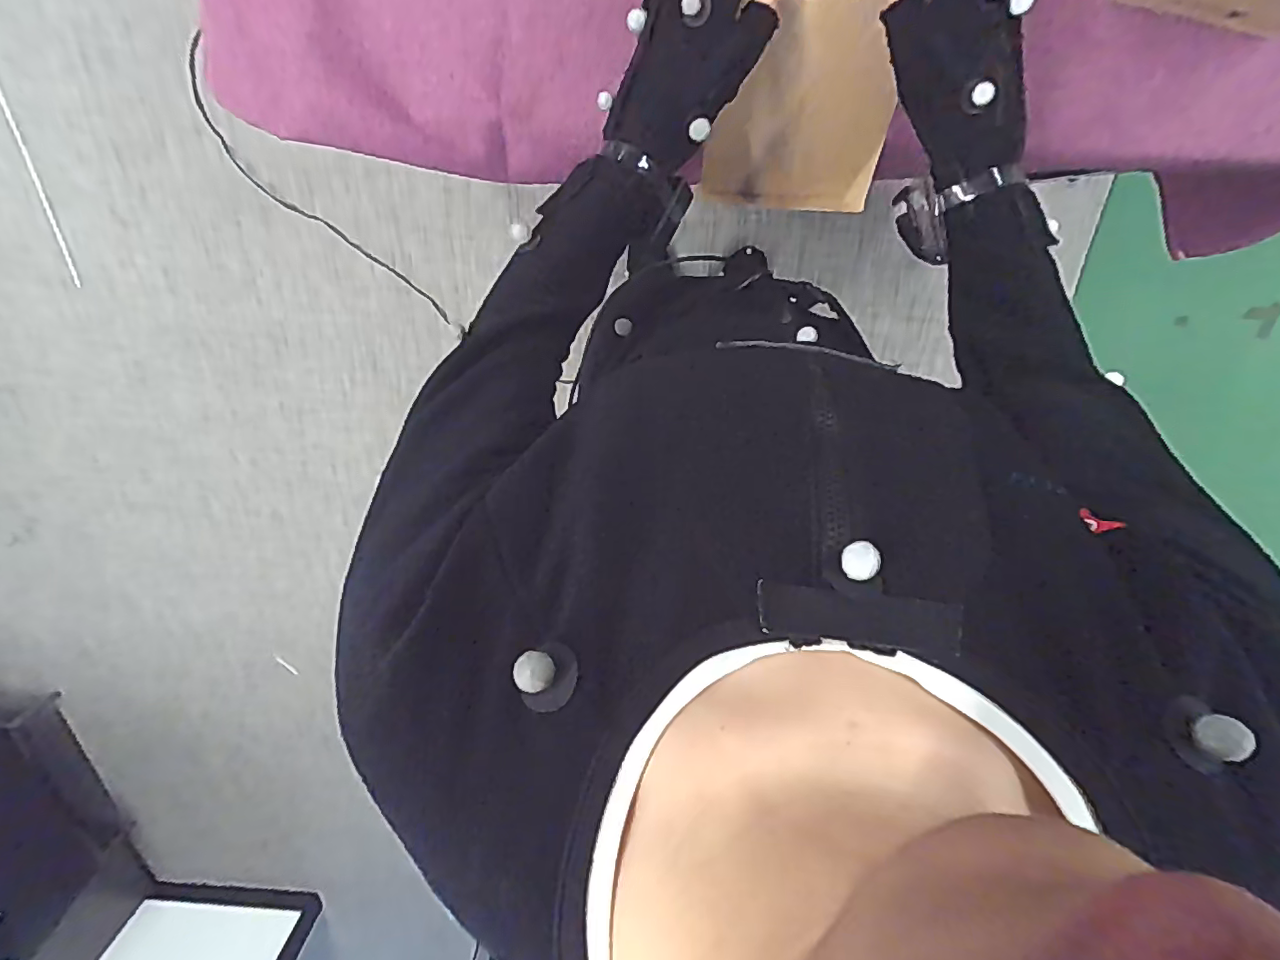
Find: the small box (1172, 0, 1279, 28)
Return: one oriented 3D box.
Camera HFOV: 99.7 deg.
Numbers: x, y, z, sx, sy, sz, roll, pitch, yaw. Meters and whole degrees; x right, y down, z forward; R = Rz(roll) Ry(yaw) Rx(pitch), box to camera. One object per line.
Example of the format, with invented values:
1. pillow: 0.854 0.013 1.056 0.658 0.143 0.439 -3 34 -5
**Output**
1. small box: 0.532 -0.480 0.401 0.168 0.176 0.179 13 115 -2
